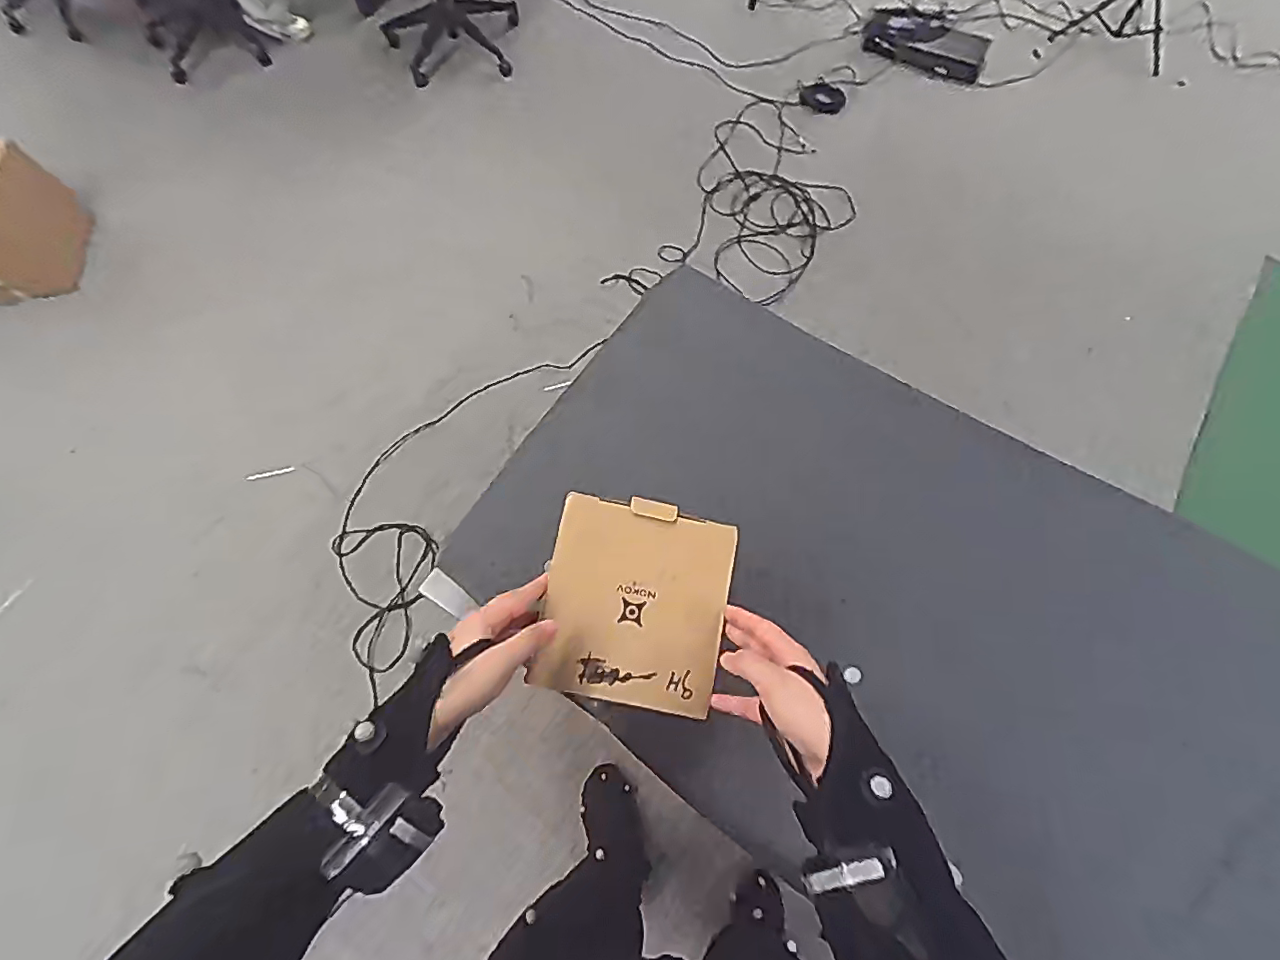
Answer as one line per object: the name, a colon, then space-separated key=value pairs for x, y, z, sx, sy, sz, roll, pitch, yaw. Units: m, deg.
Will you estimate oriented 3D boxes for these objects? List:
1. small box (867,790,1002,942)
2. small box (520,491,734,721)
small box: x=0.581 y=0.760 z=1.090 sx=0.168 sy=0.176 sz=0.179 roll=26 pitch=69 yaw=13
small box: x=-0.013 y=0.127 z=0.567 sx=0.168 sy=0.176 sz=0.179 roll=13 pitch=78 yaw=0
